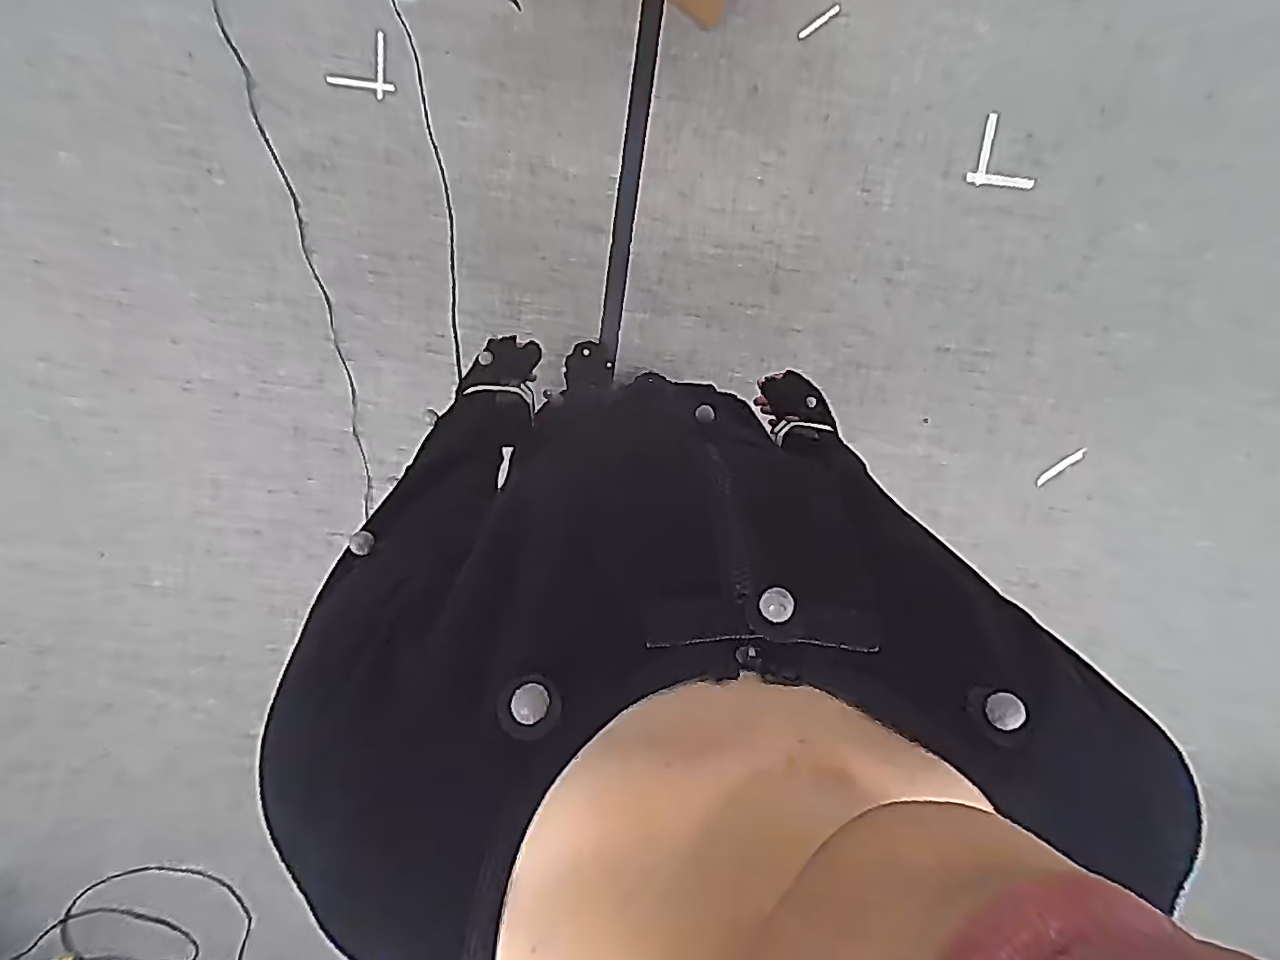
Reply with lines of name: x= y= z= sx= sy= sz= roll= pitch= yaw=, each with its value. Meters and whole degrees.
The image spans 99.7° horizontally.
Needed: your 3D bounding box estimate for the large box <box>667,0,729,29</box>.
large box: x=0.077 y=-1.234 z=1.066 sx=0.408 sy=0.320 sz=0.320 roll=30 pitch=100 yaw=-8
